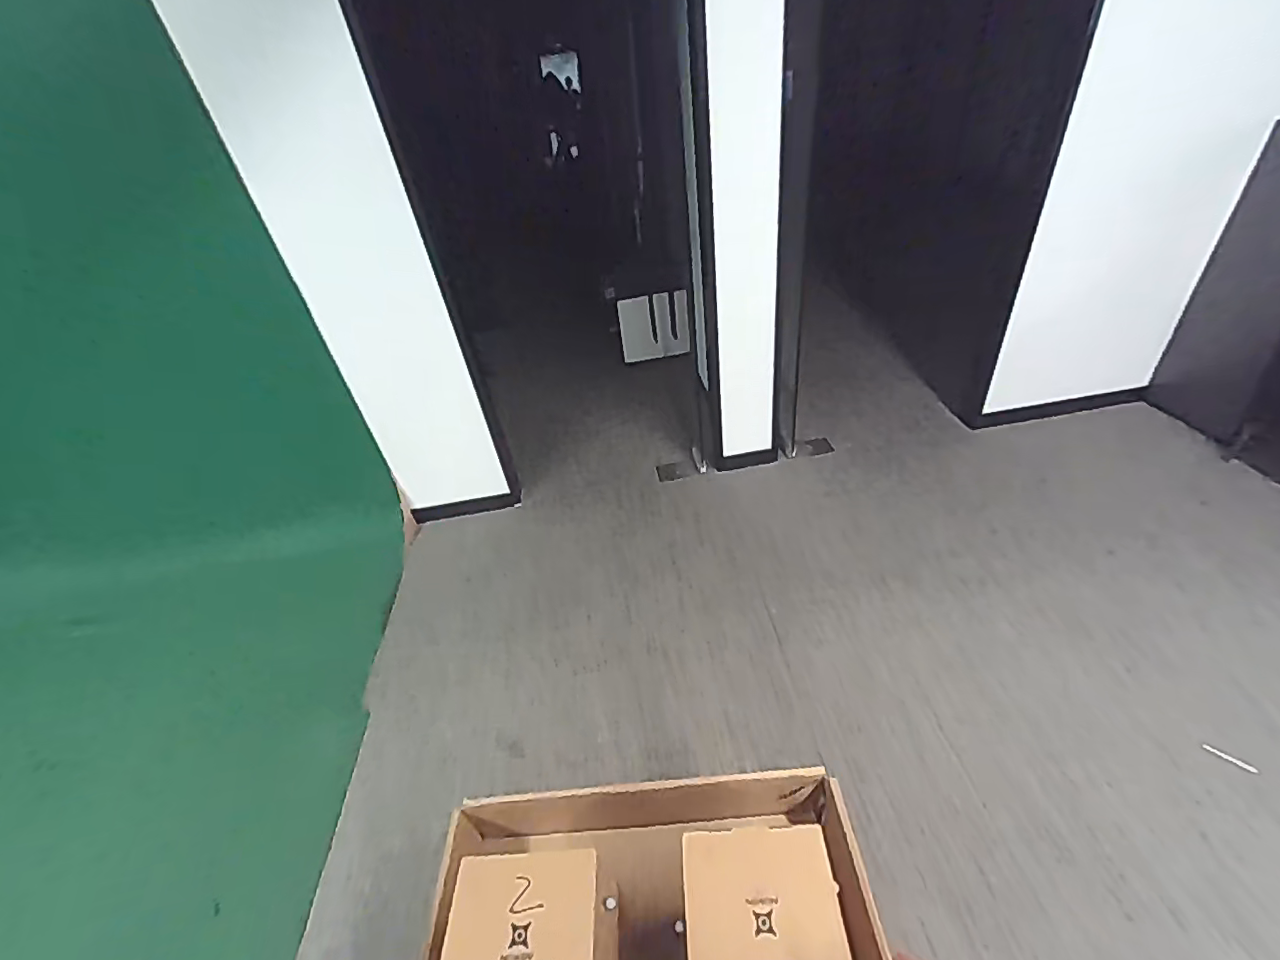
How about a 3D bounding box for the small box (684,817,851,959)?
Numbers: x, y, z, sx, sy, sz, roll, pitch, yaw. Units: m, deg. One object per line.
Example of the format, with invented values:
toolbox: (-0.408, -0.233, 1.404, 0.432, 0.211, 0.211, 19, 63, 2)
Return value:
small box: (0.141, 0.521, 0.627, 0.168, 0.176, 0.179, -7, 39, 6)
